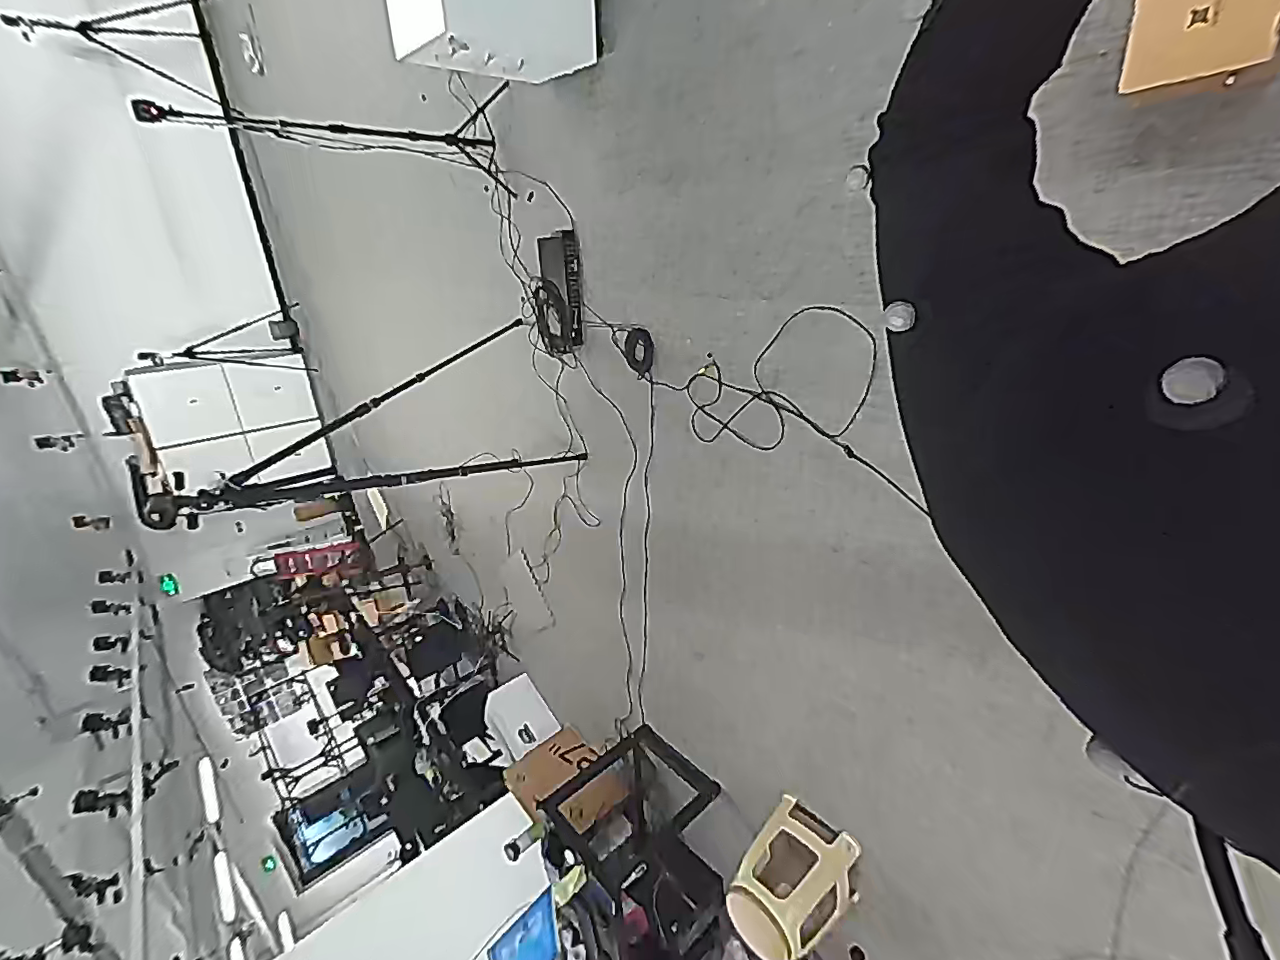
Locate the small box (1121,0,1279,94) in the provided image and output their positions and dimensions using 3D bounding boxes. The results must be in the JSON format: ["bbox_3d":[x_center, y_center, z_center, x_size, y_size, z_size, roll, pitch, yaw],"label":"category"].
[{"bbox_3d":[0.914,-0.743,0.861,0.179,0.176,0.168,17,120,45],"label":"small box"}]
